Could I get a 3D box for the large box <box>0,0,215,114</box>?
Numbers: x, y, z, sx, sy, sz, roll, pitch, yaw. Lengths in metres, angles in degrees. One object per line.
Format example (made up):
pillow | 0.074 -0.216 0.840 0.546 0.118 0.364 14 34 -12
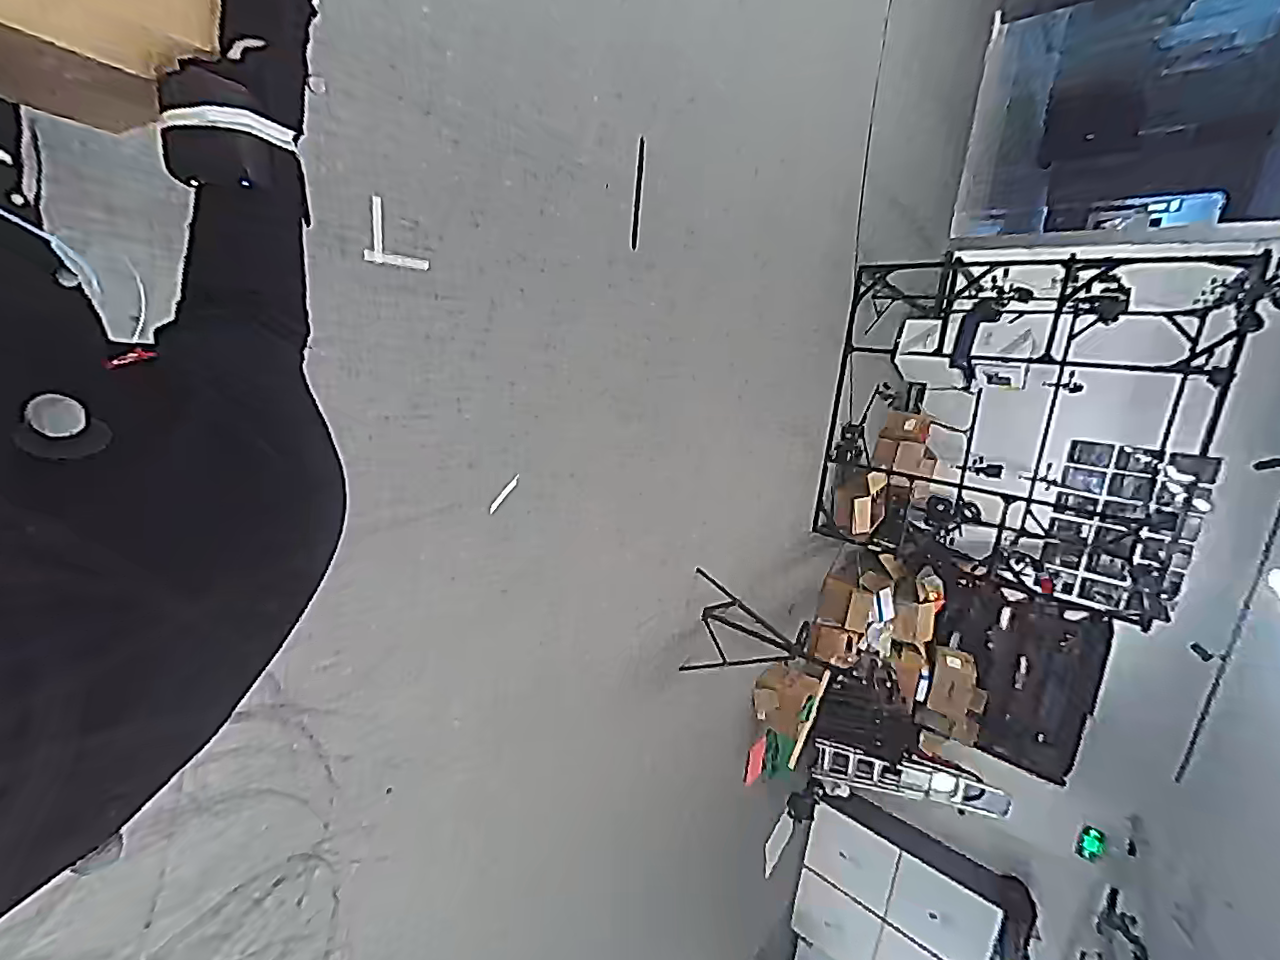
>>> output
large box | -0.517 -0.456 0.281 0.408 0.320 0.320 -7 114 -53
